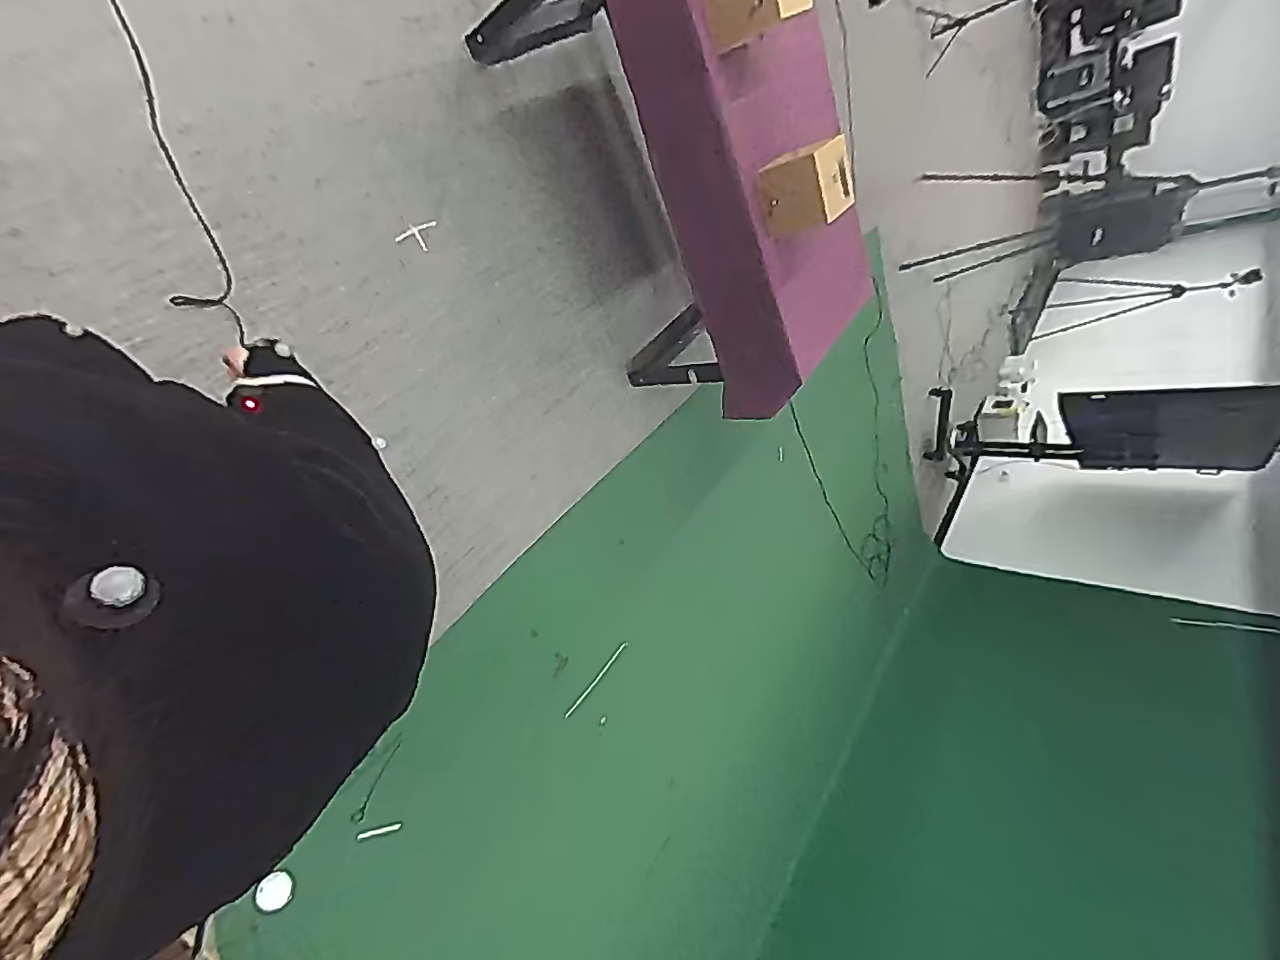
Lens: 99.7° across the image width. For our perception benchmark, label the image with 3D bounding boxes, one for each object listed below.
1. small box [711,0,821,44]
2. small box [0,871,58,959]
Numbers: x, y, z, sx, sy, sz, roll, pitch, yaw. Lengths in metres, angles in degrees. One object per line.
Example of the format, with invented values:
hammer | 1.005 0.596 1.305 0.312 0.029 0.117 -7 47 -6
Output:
small box | 0.255 -1.065 1.145 0.168 0.176 0.179 -47 125 -32
small box | -1.039 0.735 0.810 0.179 0.176 0.168 -39 121 -35
